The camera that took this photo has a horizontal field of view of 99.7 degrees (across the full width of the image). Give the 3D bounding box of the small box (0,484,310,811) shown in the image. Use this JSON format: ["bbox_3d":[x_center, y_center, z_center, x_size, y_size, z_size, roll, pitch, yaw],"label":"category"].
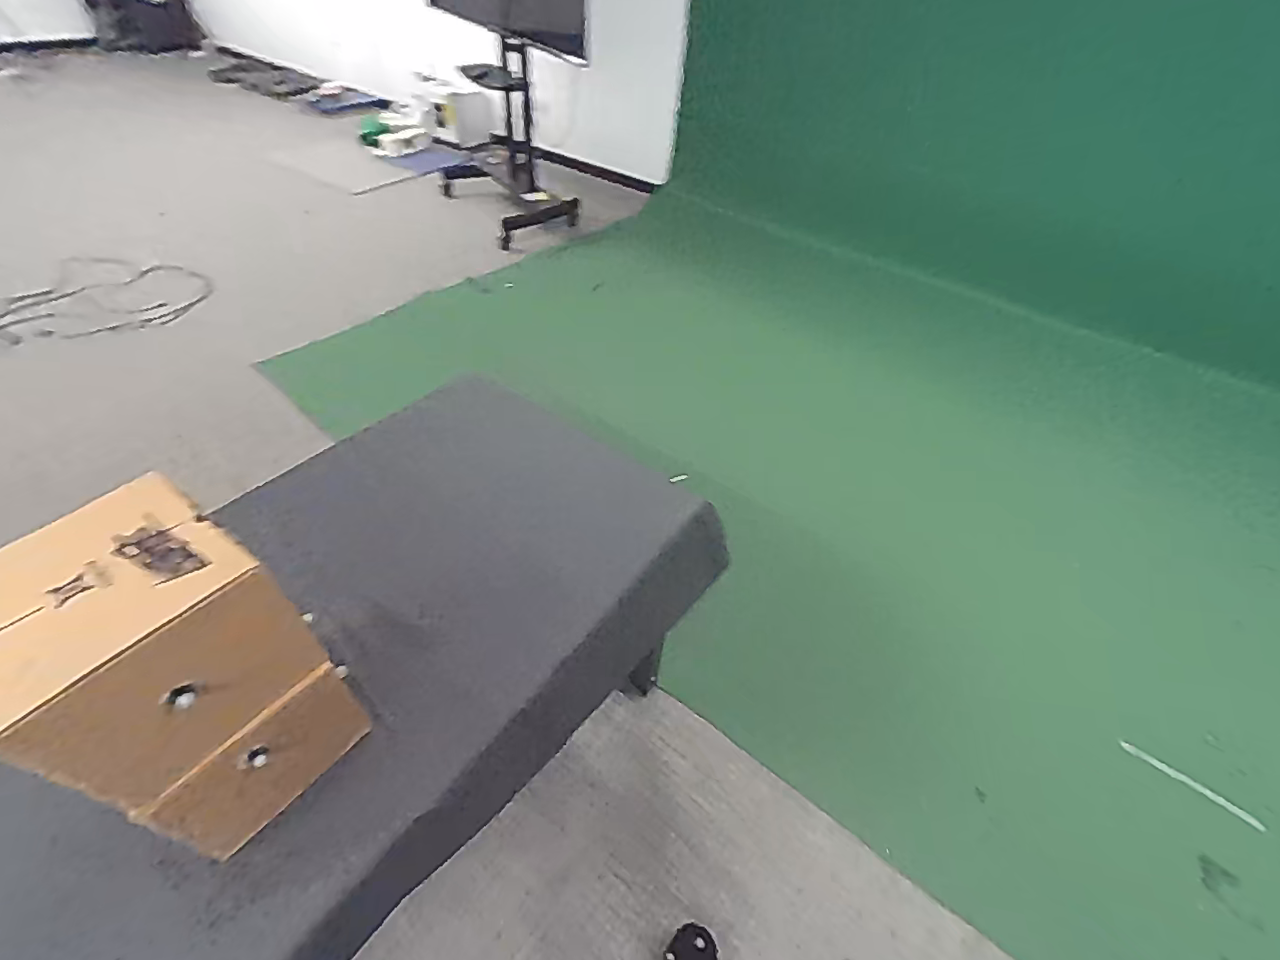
[{"bbox_3d":[-0.425,0.142,0.470,0.168,0.176,0.179,29,51,21],"label":"small box"}]

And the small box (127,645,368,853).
[{"bbox_3d":[-0.435,0.258,0.586,0.168,0.176,0.179,31,49,21],"label":"small box"}]
